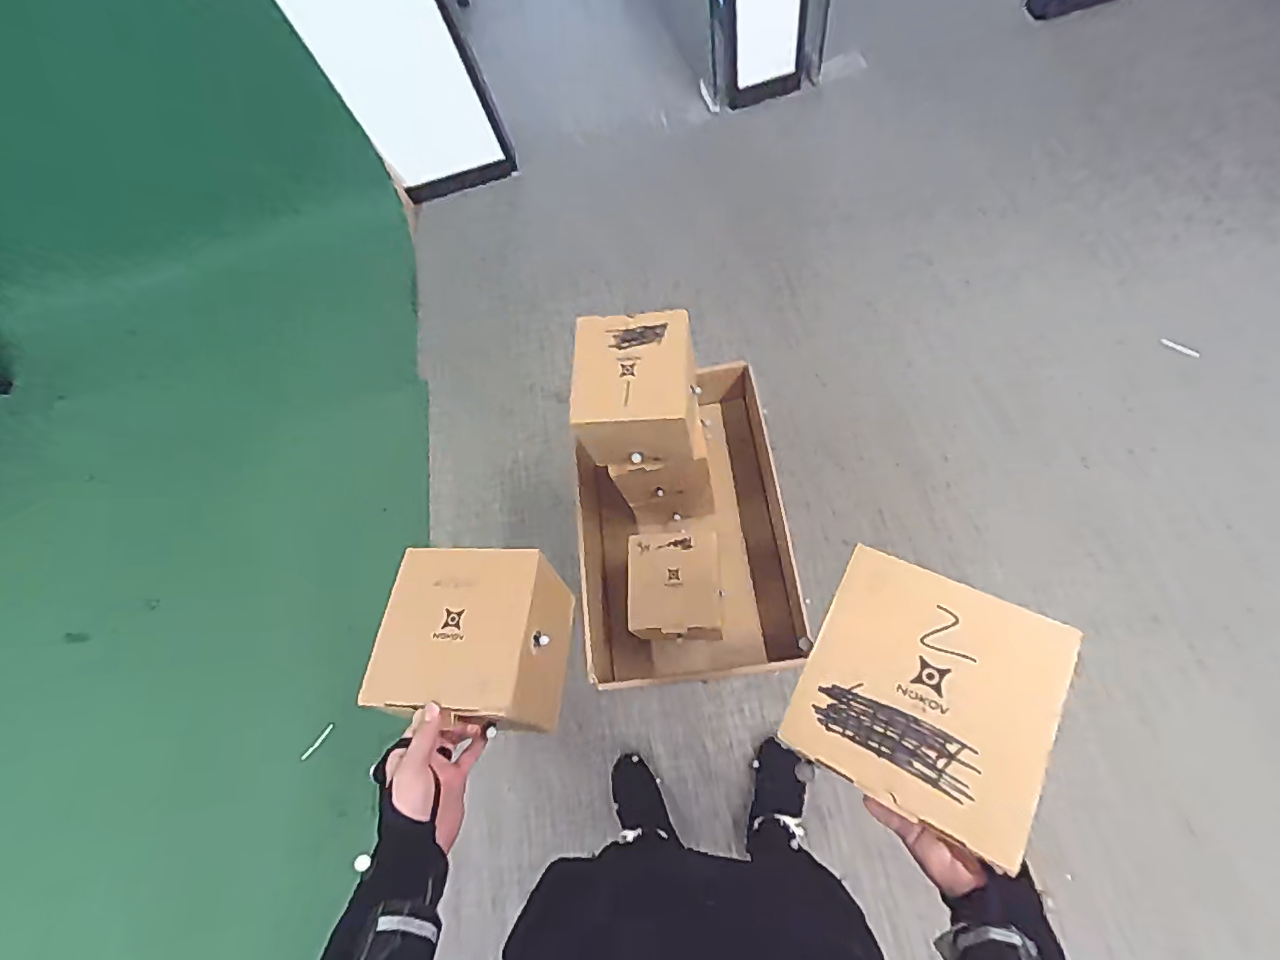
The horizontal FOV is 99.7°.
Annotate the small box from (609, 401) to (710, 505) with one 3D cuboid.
[{"bbox_3d":[0.032,-0.072,0.988,0.168,0.176,0.179,-11,68,6],"label":"small box"}]

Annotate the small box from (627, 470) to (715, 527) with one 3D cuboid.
[{"bbox_3d":[0.061,-0.016,1.137,0.168,0.176,0.179,-11,68,8],"label":"small box"}]

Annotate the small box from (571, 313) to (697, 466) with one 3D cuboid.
[{"bbox_3d":[0.000,-0.133,0.839,0.168,0.176,0.179,-1,70,10],"label":"small box"}]

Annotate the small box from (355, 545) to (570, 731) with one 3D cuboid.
[{"bbox_3d":[-0.191,0.191,0.643,0.168,0.176,0.179,0,58,10],"label":"small box"}]
